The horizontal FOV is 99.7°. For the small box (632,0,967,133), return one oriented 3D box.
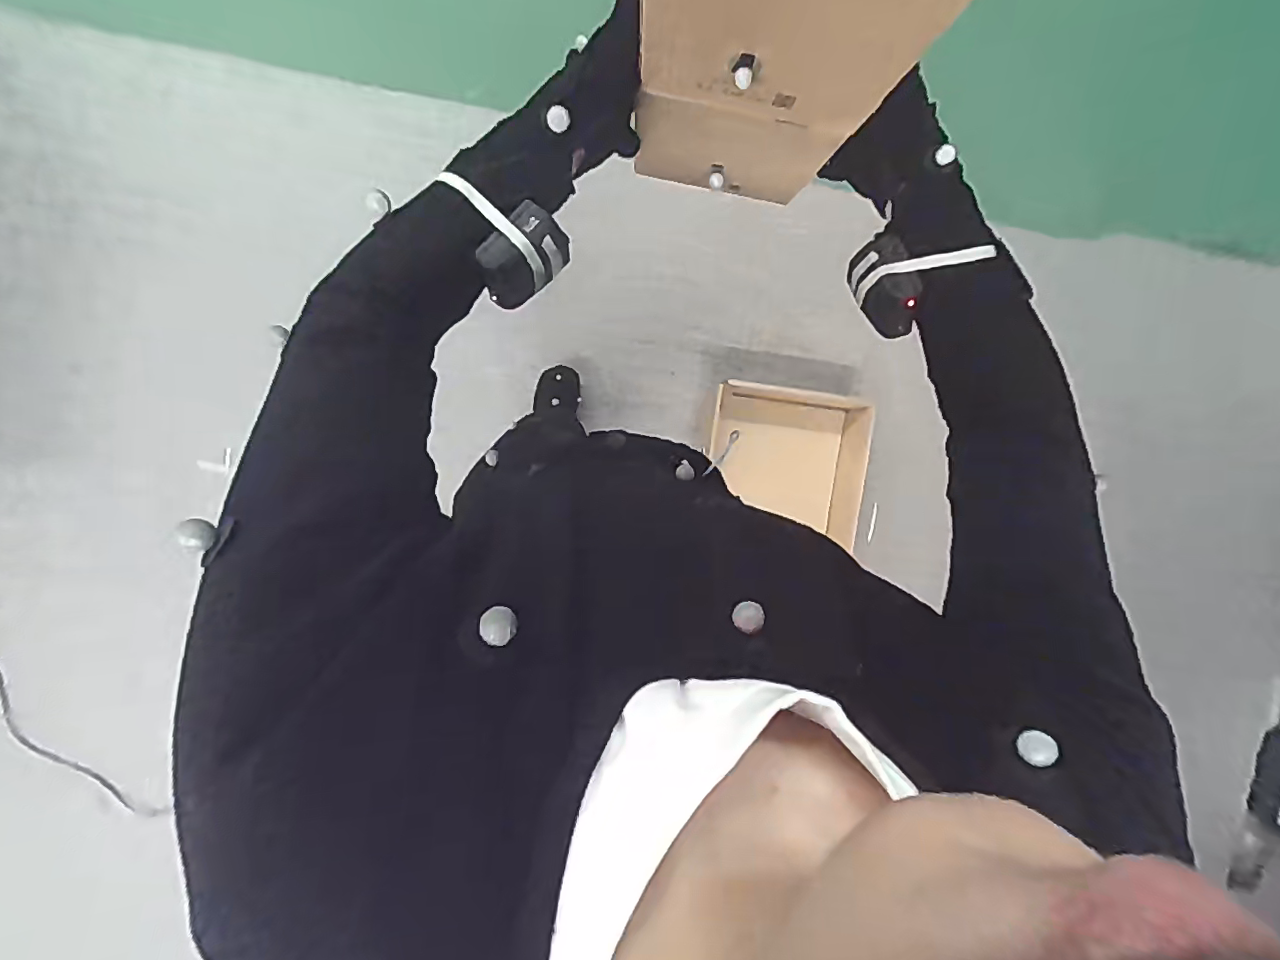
[{"bbox_3d":[0.088,-0.336,0.302,0.168,0.176,0.179,8,101,-3],"label":"small box"}]

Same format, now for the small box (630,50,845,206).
[{"bbox_3d":[0.084,-0.365,0.462,0.168,0.176,0.179,10,101,-2],"label":"small box"}]
